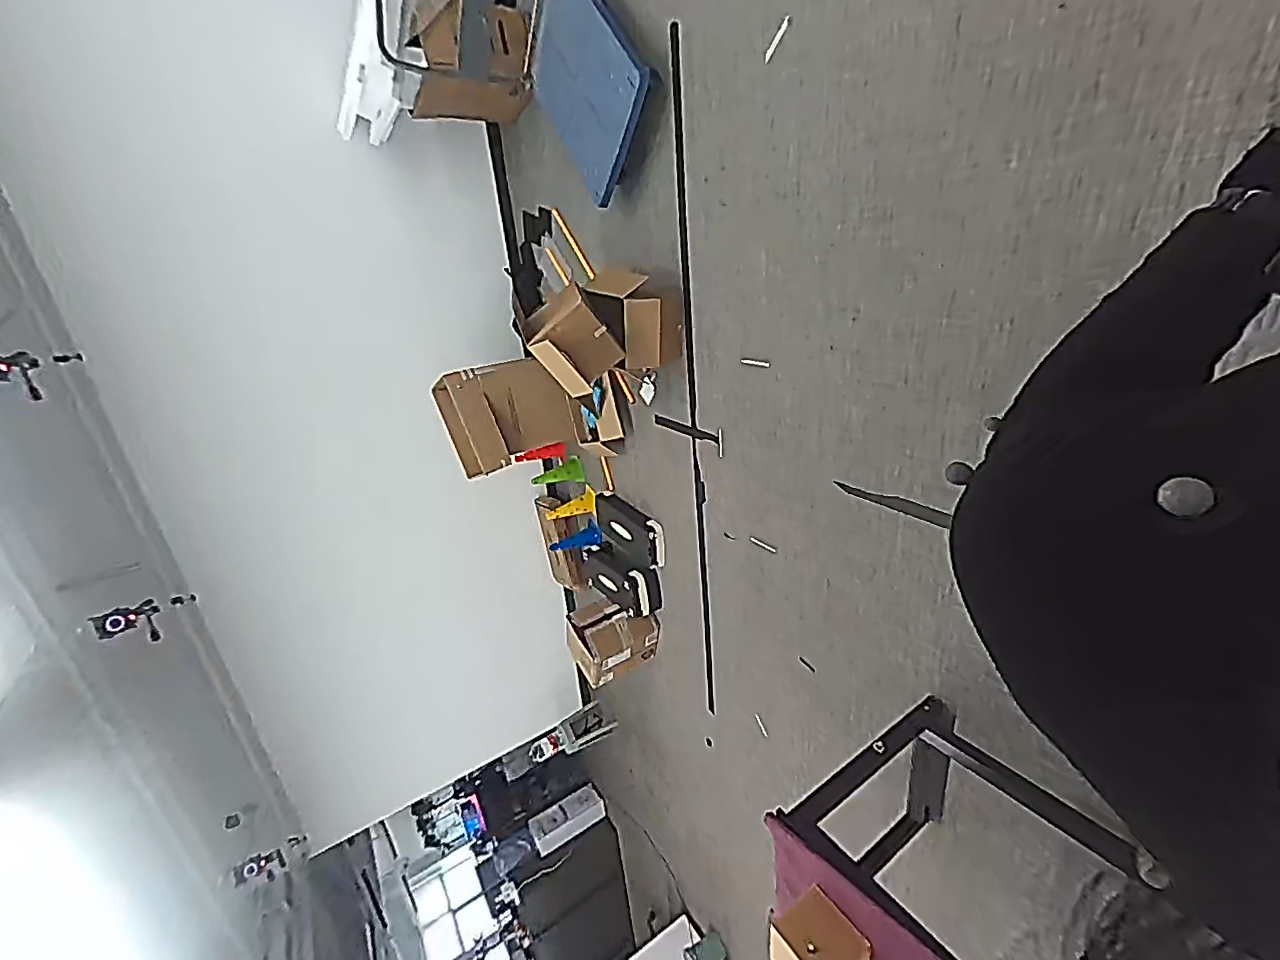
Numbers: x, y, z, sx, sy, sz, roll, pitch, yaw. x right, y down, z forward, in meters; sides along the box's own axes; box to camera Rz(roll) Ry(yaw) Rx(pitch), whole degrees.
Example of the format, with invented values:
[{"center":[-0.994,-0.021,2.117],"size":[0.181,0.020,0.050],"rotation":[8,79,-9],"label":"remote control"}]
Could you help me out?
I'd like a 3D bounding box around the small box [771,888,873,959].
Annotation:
[{"center":[0.458,1.192,1.375],"size":[0.179,0.176,0.168],"rotation":[29,132,51],"label":"small box"}]
